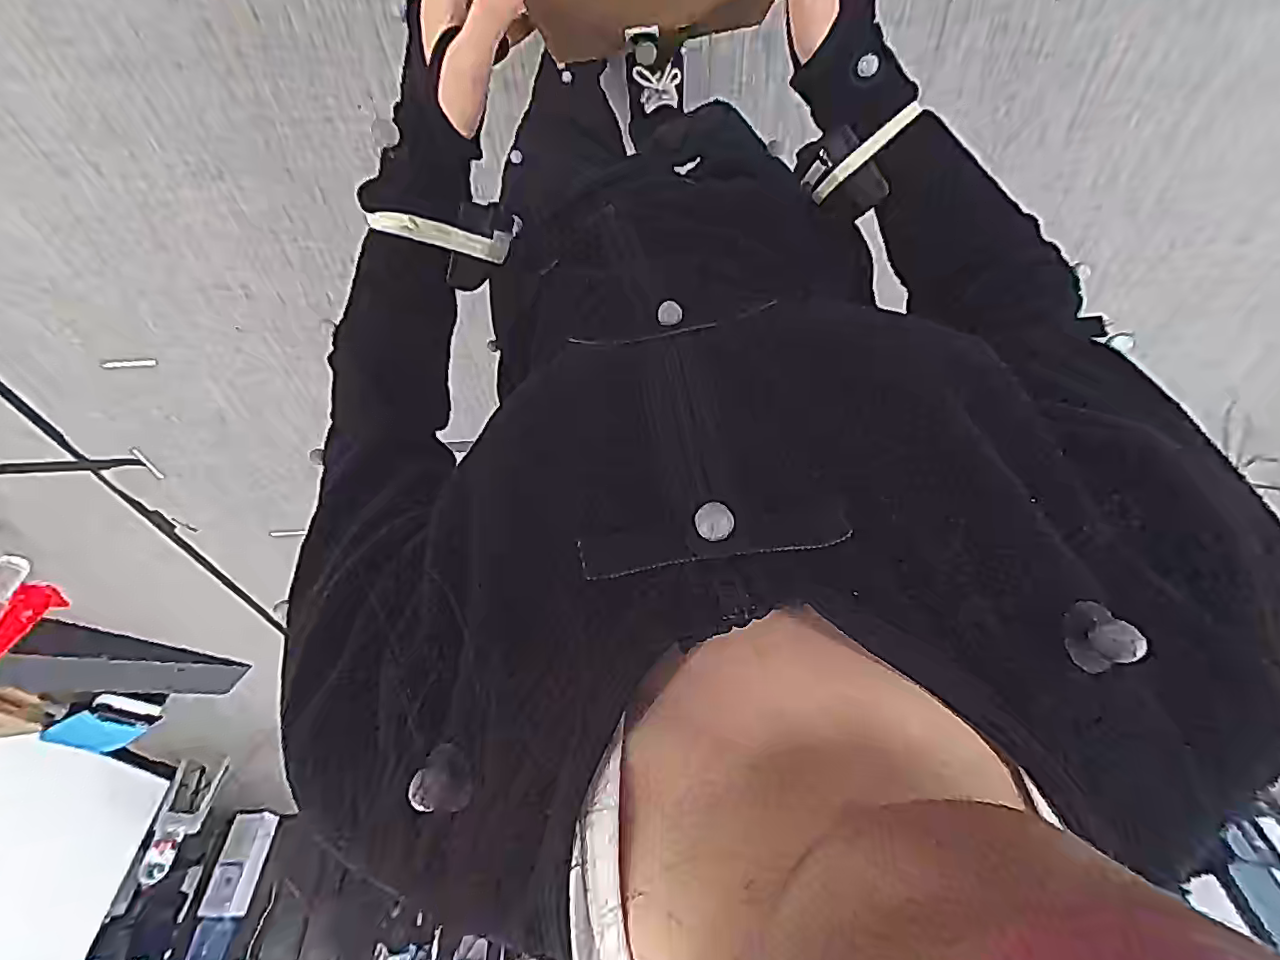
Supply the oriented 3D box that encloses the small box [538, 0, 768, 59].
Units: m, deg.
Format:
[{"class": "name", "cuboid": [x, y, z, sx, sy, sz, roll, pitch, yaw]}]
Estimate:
[{"class": "small box", "cuboid": [0.000, -0.387, 0.313, 0.168, 0.176, 0.179, -8, 115, 5]}]
